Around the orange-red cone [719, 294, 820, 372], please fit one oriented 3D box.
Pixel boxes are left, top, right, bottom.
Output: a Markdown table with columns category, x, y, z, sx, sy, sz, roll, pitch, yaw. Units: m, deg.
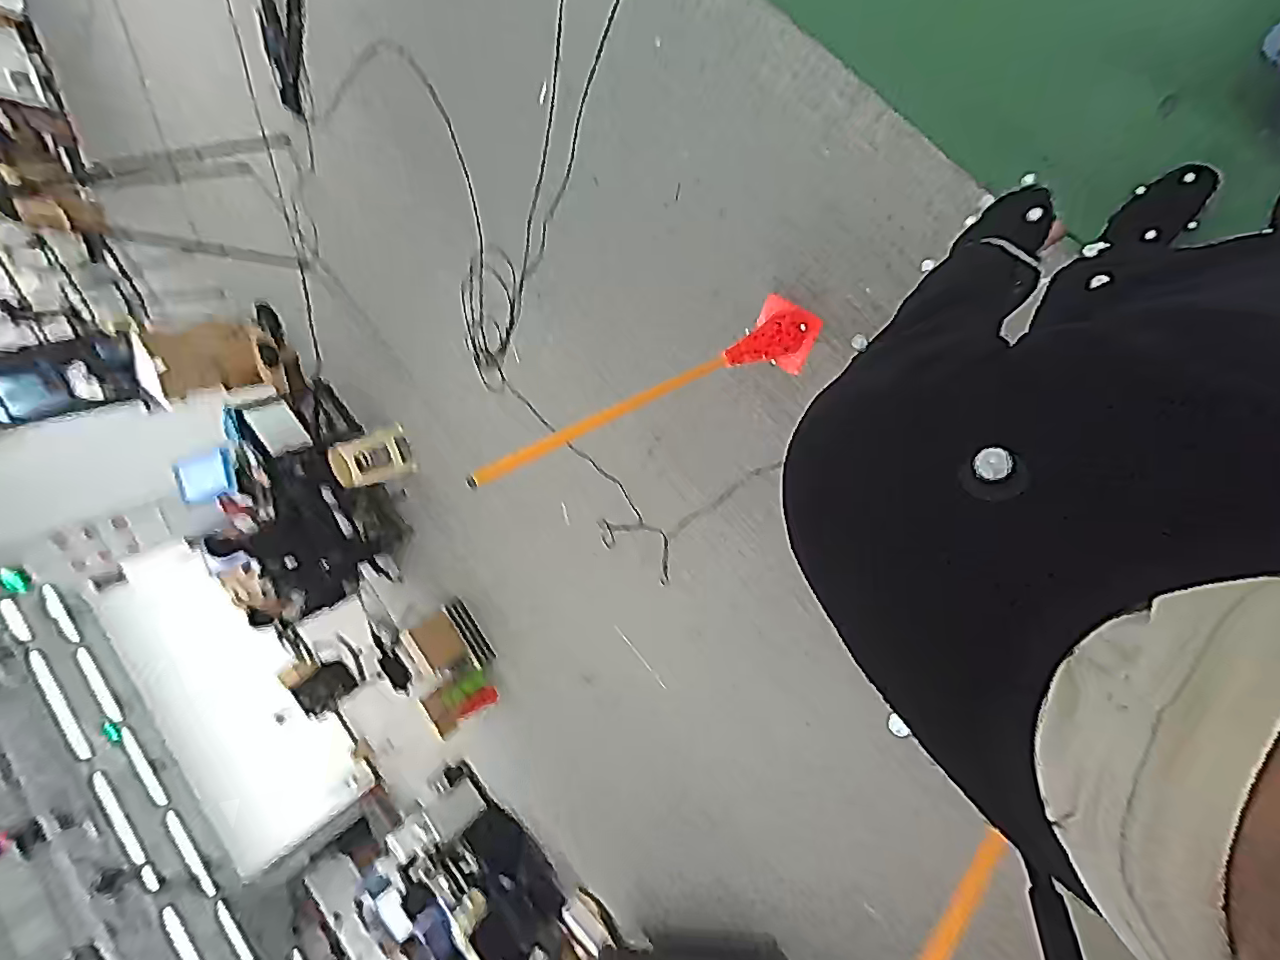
| category | x | y | z | sx | sy | sz | roll | pitch | yaw |
| --- | --- | --- | --- | --- | --- | --- | --- | --- | --- |
| orange-red cone | 0.348 | -0.408 | 1.621 | 0.199 | 0.360 | 0.198 | 40 | 134 | 22 |
